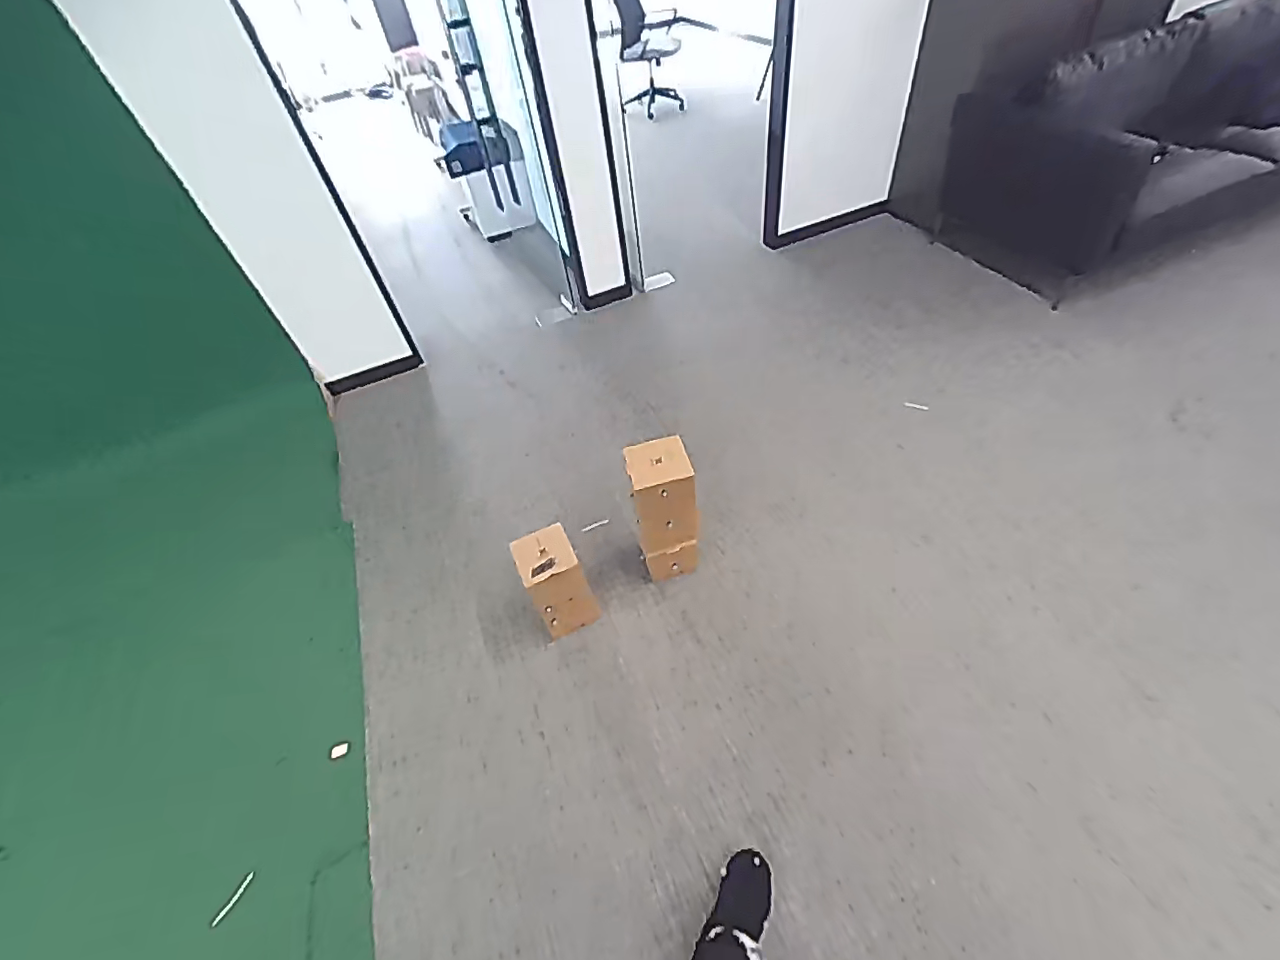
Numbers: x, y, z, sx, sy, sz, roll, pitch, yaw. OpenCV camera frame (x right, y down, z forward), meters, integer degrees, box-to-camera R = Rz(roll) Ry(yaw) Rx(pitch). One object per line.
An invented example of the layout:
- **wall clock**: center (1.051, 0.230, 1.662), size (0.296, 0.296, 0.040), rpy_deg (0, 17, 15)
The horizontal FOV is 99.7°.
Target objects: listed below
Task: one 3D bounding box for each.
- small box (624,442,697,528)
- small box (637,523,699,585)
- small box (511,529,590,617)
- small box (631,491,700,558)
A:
- **small box**: center (0.062, 0.019, 1.587), size (0.179, 0.176, 0.168), rpy_deg (-14, 49, -3)
- **small box**: center (0.097, 0.234, 1.828), size (0.168, 0.176, 0.179), rpy_deg (-15, 49, -6)
- **small box**: center (-0.263, 0.286, 1.619), size (0.168, 0.176, 0.179), rpy_deg (-23, 48, -12)
- **small box**: center (0.083, 0.118, 1.715), size (0.179, 0.176, 0.168), rpy_deg (-18, 48, -6)
